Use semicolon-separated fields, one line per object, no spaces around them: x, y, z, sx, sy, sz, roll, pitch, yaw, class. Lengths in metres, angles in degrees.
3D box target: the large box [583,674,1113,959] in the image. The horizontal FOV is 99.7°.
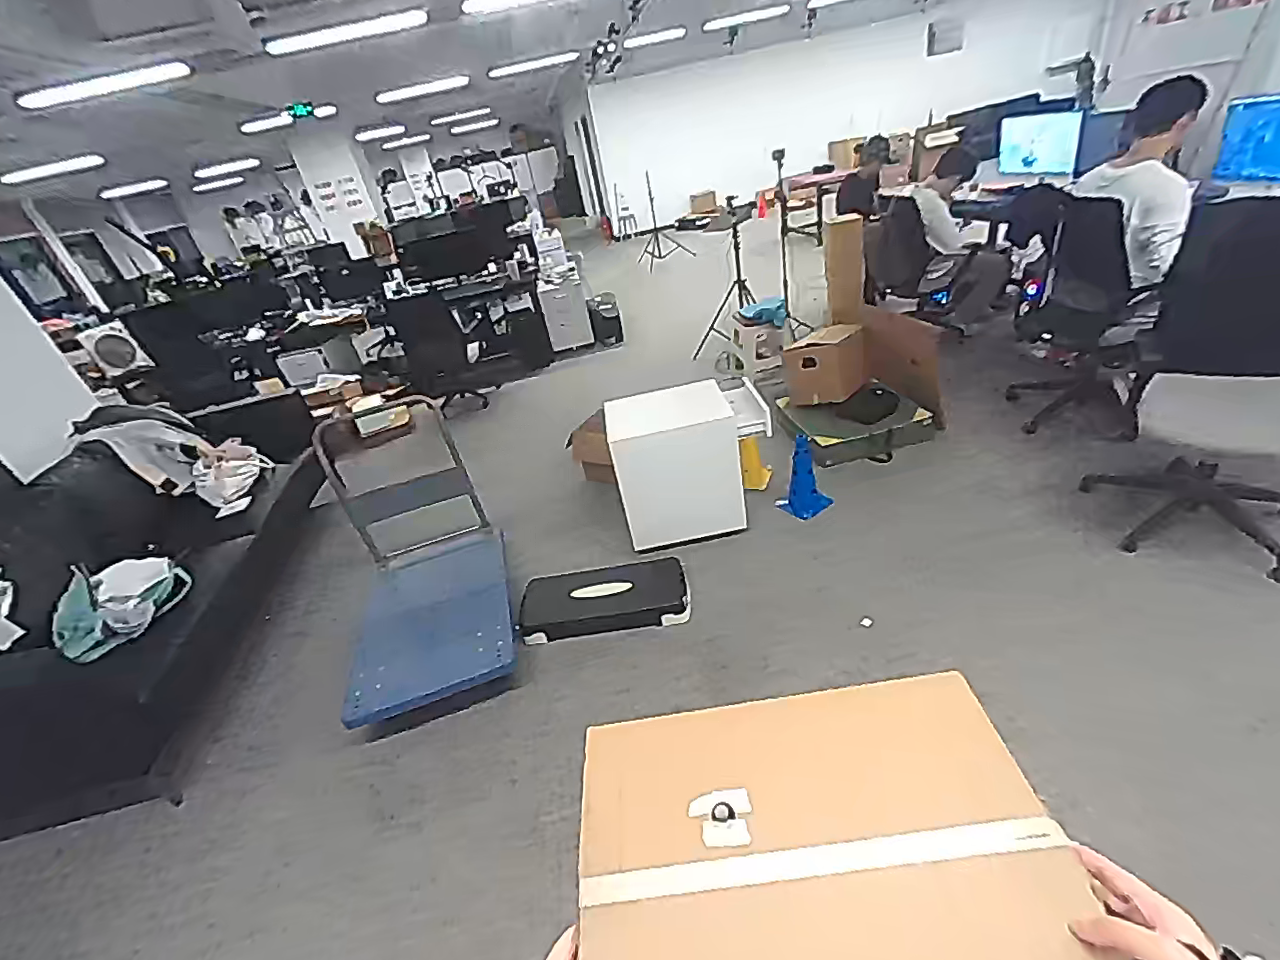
0.179;0.454;0.558;0.408;0.320;0.320;-13;35;6;large box
